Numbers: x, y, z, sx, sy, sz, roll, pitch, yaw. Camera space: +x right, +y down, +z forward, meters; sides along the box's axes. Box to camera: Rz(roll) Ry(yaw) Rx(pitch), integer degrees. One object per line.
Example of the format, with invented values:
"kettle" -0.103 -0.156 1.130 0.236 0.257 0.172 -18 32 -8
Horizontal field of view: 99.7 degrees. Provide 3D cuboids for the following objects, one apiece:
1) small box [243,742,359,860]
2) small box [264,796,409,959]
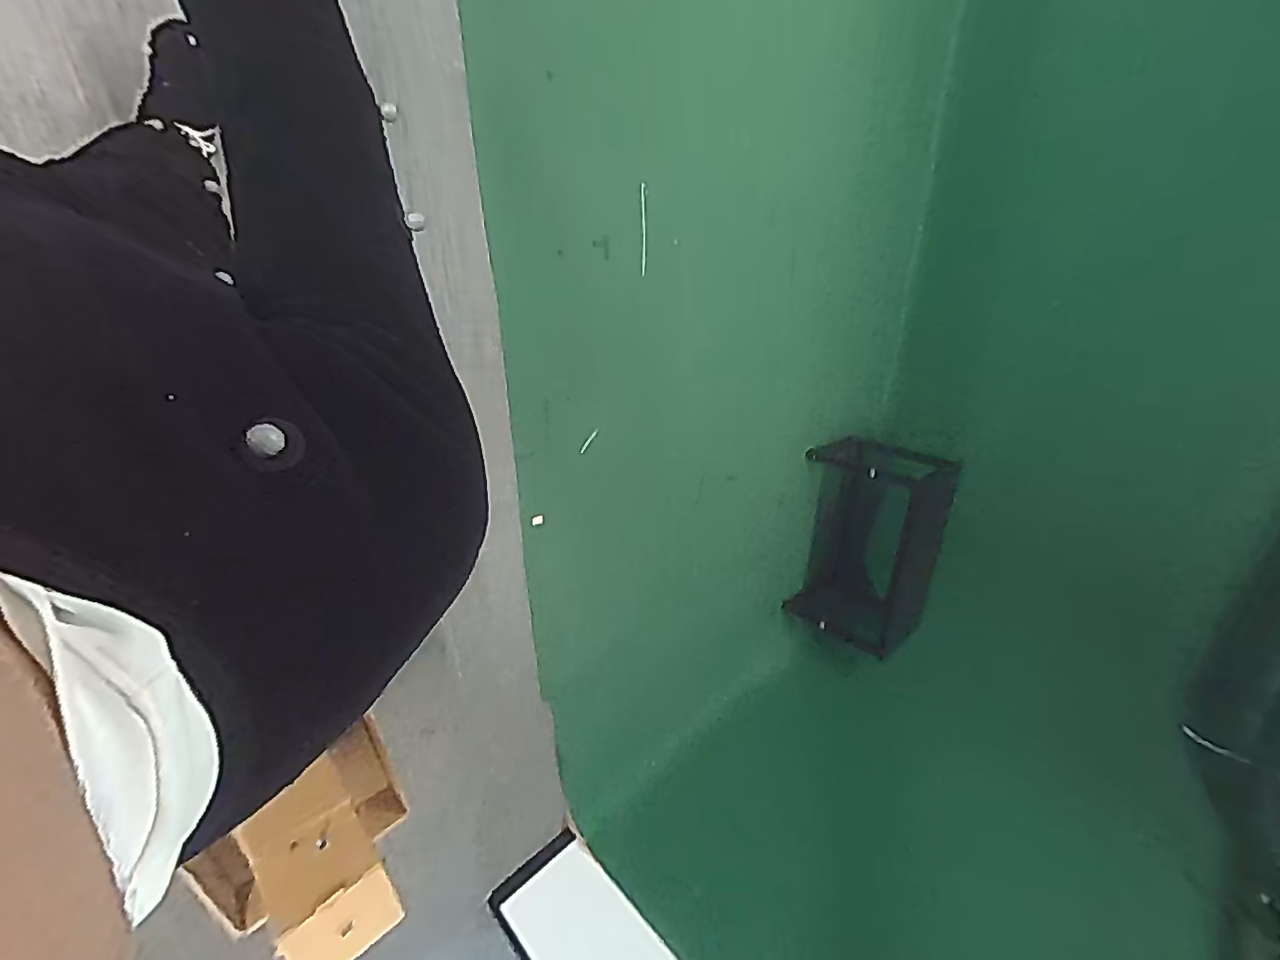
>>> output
"small box" -0.662 0.675 1.087 0.168 0.176 0.179 -26 126 -37
"small box" -0.549 0.729 0.984 0.168 0.176 0.179 -26 125 -36
